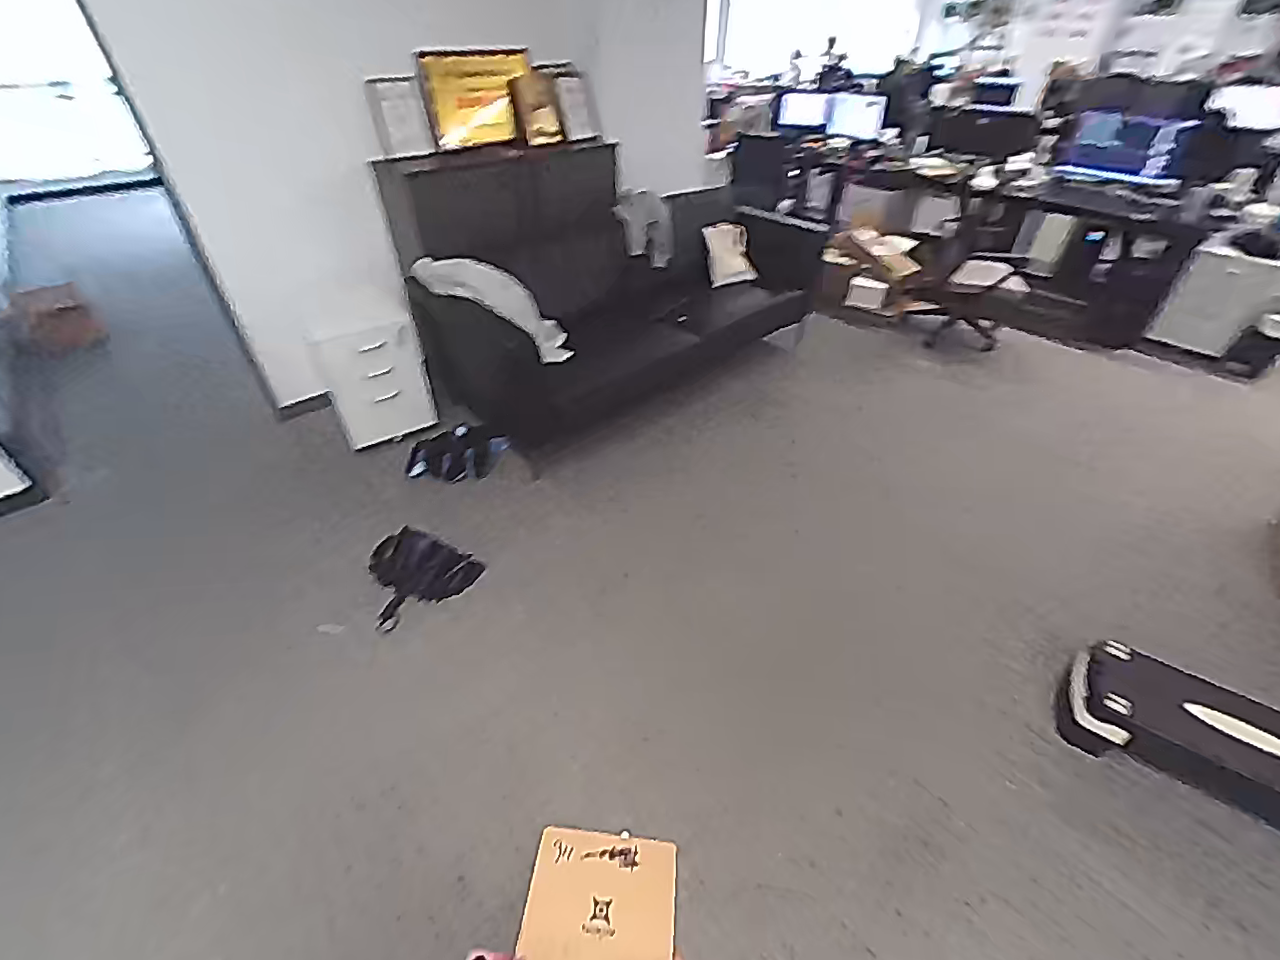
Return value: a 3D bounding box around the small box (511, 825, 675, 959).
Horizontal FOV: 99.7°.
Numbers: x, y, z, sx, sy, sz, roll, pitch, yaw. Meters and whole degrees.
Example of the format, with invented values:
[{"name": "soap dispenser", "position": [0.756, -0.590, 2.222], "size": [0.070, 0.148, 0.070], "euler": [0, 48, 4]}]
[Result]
[{"name": "small box", "position": [-0.049, 0.537, 0.621], "size": [0.168, 0.176, 0.179], "euler": [5, 32, 2]}]
